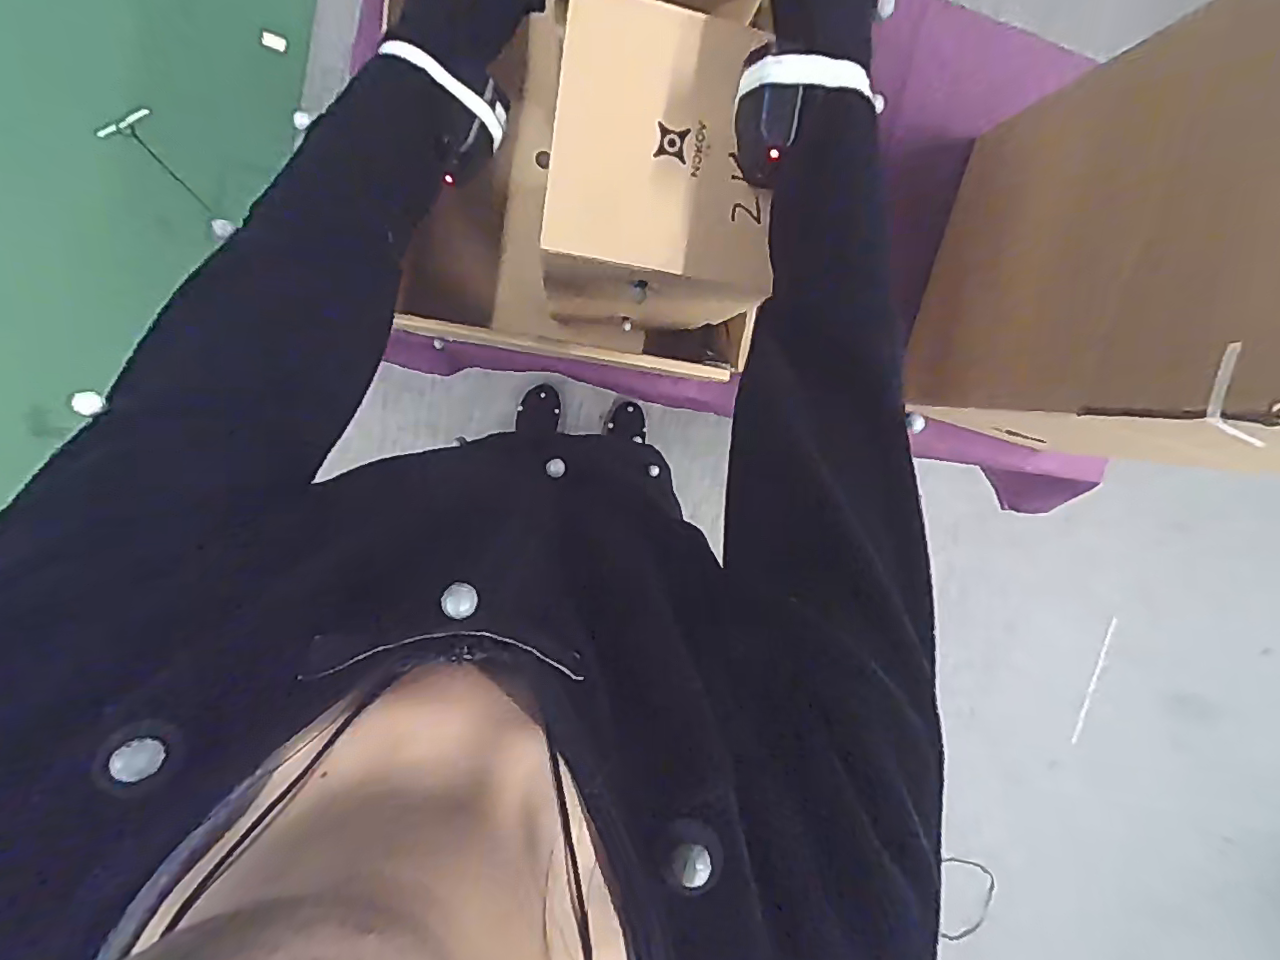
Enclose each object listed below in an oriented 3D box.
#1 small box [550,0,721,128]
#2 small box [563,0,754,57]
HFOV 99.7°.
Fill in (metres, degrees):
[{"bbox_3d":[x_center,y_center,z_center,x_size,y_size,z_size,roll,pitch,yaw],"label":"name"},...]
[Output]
[{"bbox_3d":[-0.002,-0.507,0.568,0.168,0.176,0.179,5,101,-9],"label":"small box"},{"bbox_3d":[0.026,-0.477,0.410,0.168,0.176,0.179,8,102,-9],"label":"small box"}]
